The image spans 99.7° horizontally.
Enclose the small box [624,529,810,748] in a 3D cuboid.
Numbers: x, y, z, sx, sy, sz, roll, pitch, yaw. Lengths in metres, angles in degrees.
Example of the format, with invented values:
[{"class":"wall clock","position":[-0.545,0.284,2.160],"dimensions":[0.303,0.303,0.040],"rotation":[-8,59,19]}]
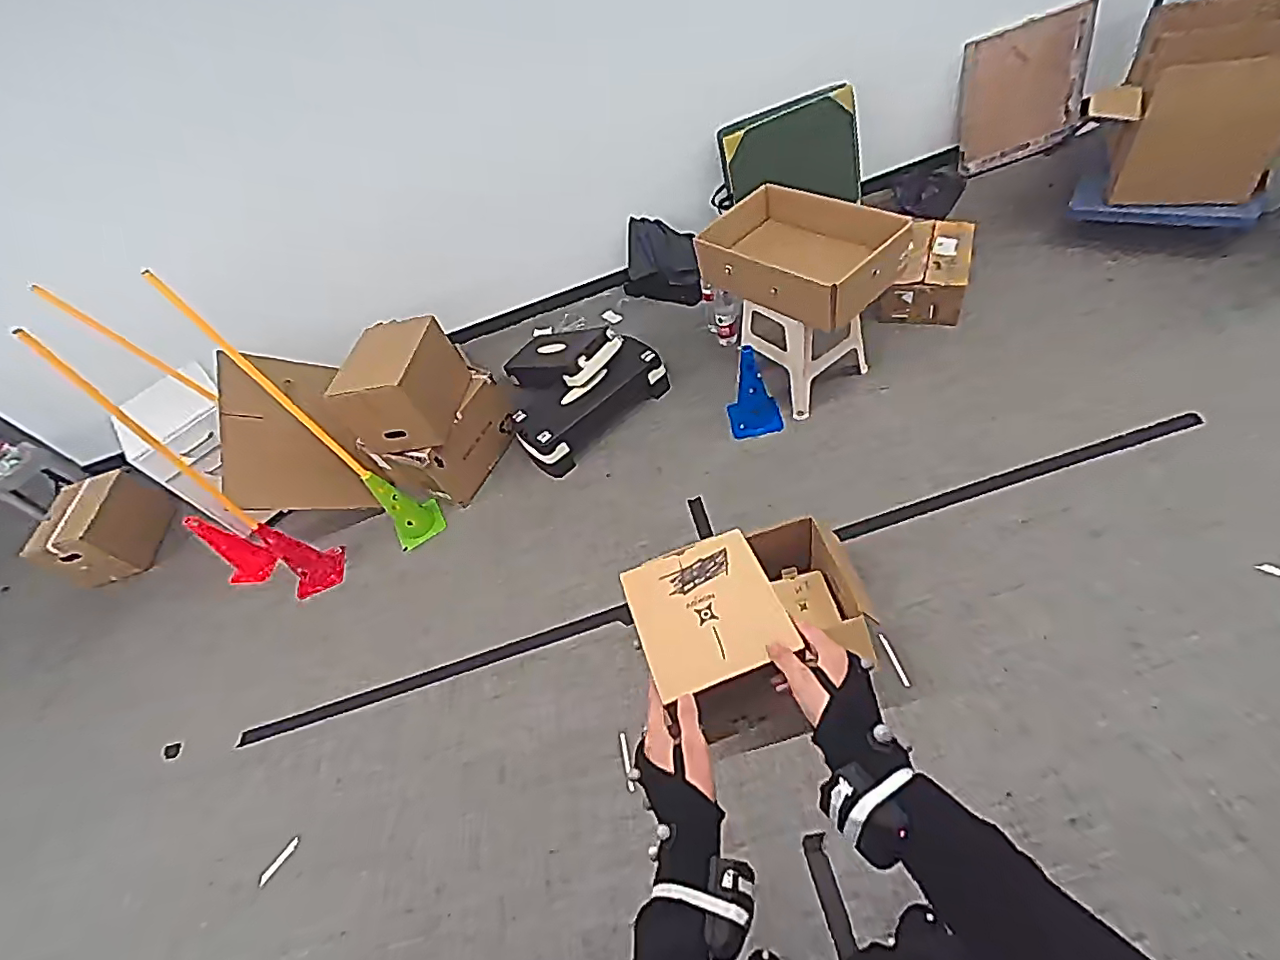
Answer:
[{"class":"small box","position":[0.095,0.198,0.672],"dimensions":[0.168,0.176,0.179],"rotation":[-21,46,-2]}]
